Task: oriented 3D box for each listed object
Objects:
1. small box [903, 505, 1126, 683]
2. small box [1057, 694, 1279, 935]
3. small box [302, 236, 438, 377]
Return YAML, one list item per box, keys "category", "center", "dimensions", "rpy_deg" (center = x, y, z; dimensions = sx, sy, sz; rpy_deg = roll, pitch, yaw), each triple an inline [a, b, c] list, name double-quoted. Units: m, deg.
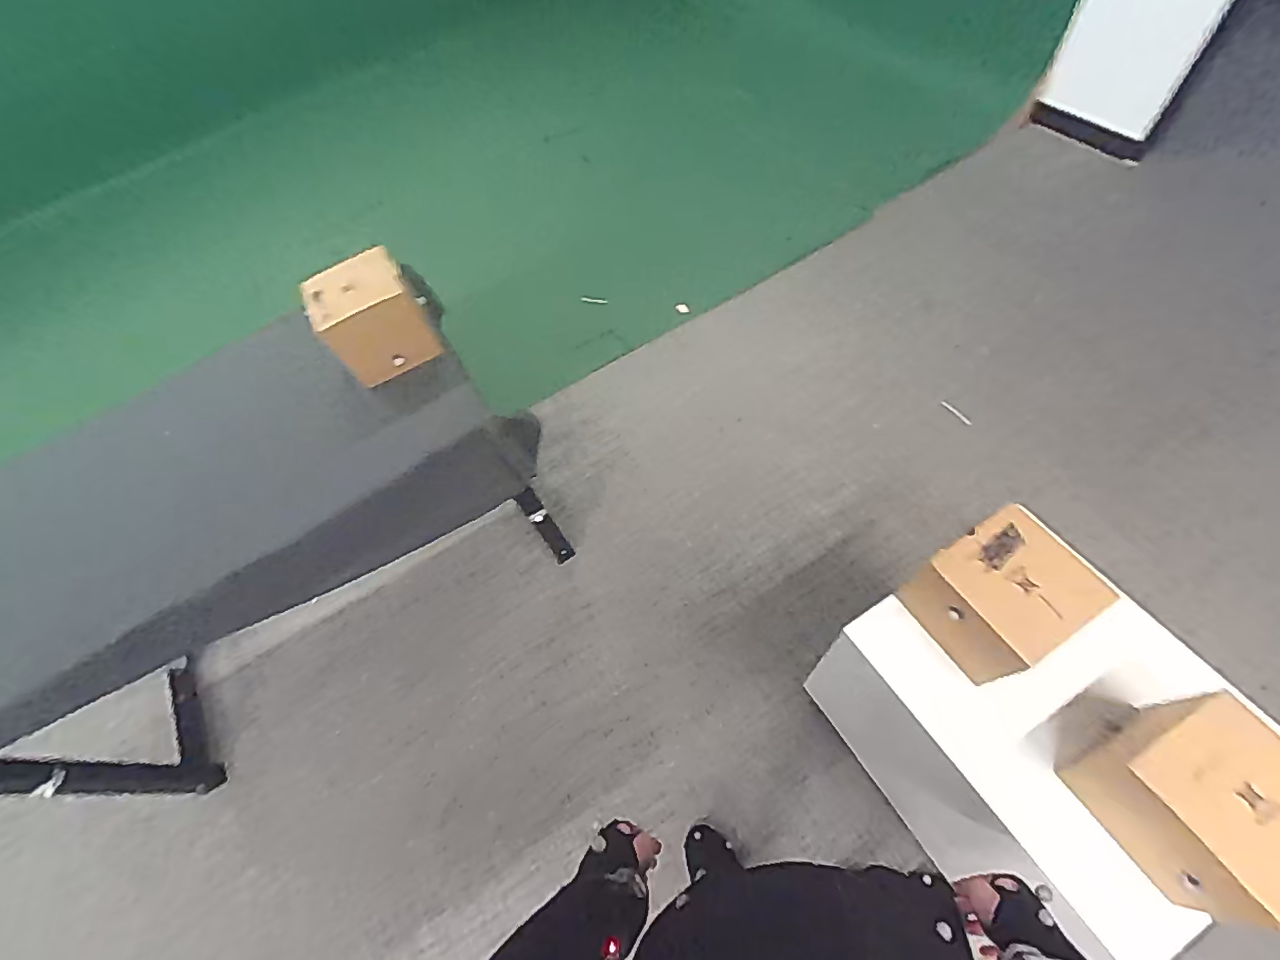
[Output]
- category: "small box"
  center: [0.528, 0.173, 0.798]
  dimensions: [0.168, 0.176, 0.179]
  rpy_deg: [-30, 64, -9]
- category: "small box"
  center: [0.678, 0.393, 0.659]
  dimensions: [0.168, 0.176, 0.179]
  rpy_deg: [-29, 60, -10]
- category: "small box"
  center: [-0.525, -0.340, 1.078]
  dimensions: [0.179, 0.176, 0.168]
  rpy_deg: [-28, 61, -8]
